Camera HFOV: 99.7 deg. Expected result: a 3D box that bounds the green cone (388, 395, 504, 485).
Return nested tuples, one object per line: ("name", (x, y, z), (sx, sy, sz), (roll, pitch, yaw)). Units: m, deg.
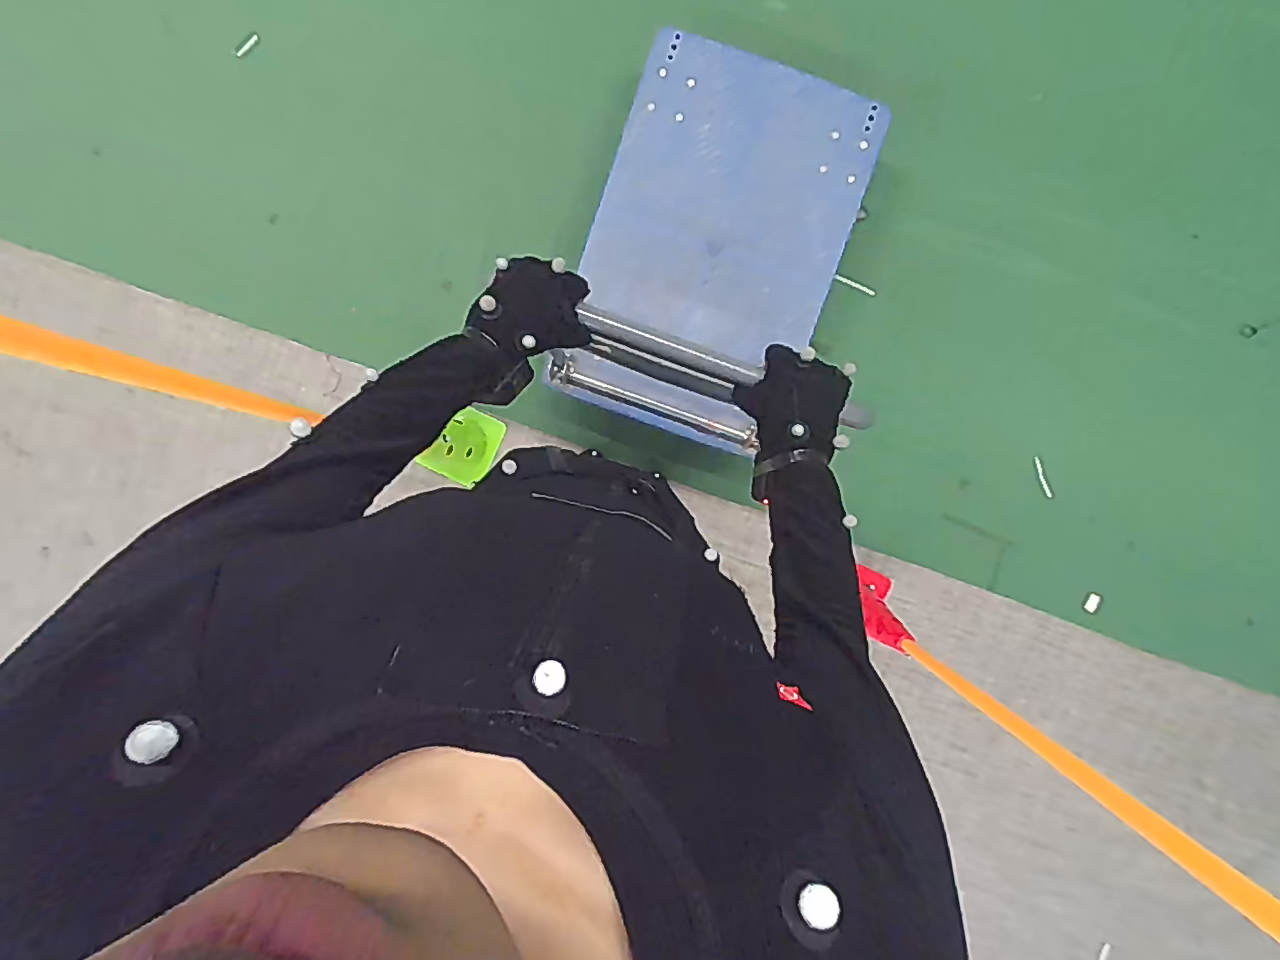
("green cone", (-0.495, -0.102, 1.300), (0.202, 0.368, 0.200), (25, 93, 0))
